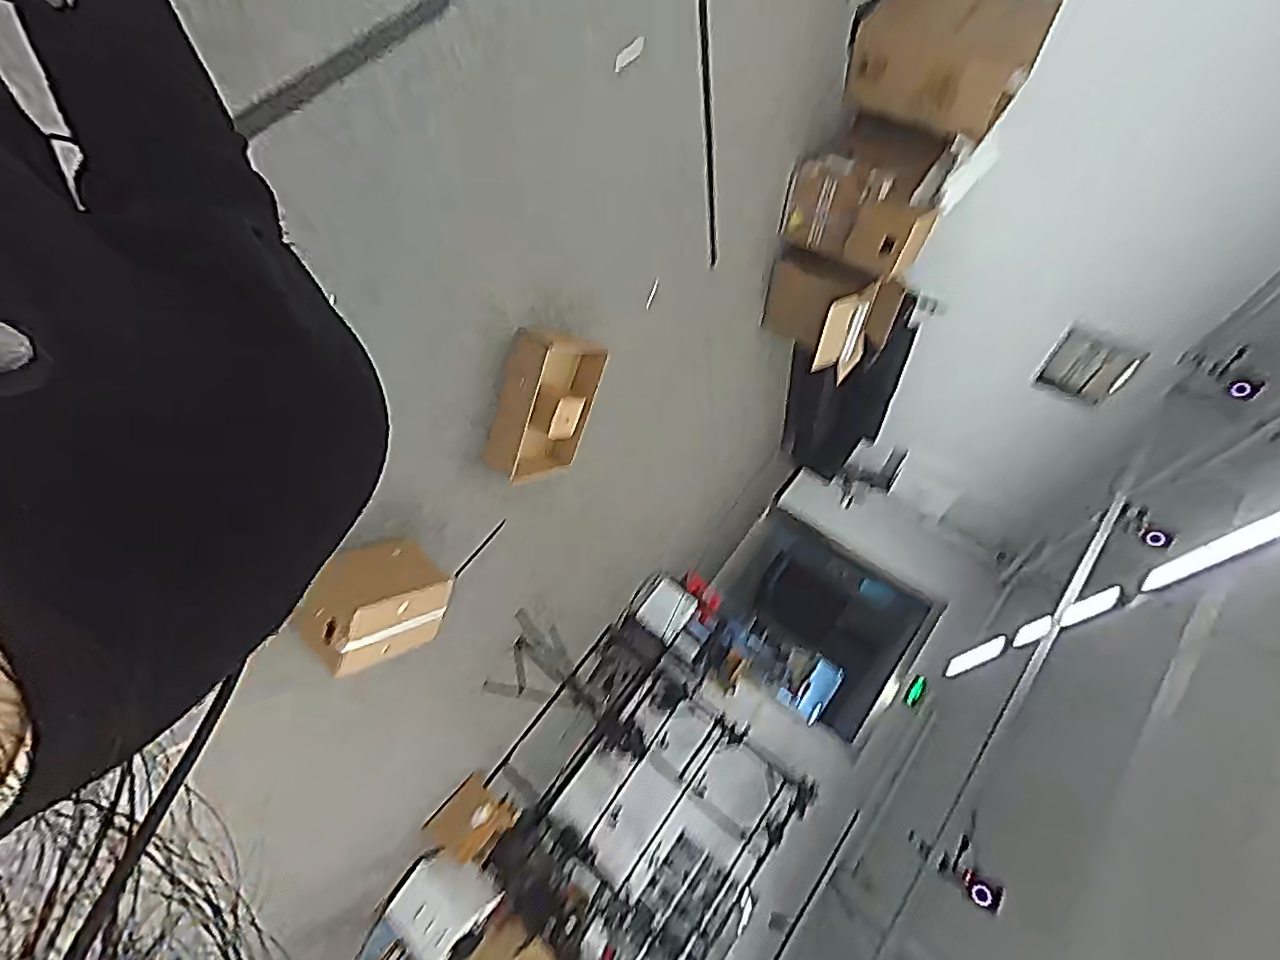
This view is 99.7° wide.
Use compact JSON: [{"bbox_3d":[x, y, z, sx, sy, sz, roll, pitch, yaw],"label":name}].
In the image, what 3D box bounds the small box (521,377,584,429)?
[{"bbox_3d":[-0.376,-0.335,2.325,0.179,0.176,0.168,-15,132,-58],"label":"small box"}]
